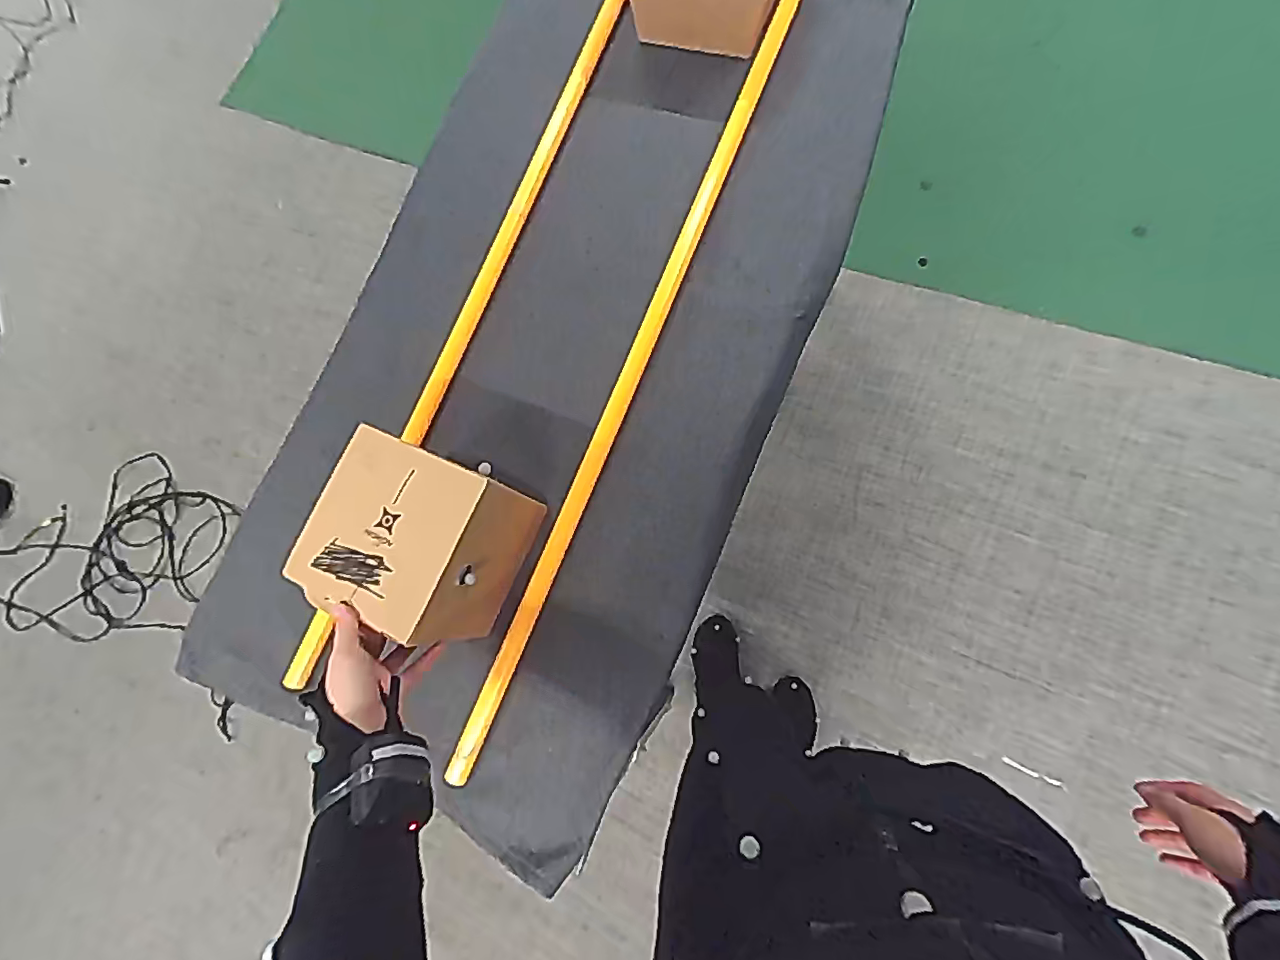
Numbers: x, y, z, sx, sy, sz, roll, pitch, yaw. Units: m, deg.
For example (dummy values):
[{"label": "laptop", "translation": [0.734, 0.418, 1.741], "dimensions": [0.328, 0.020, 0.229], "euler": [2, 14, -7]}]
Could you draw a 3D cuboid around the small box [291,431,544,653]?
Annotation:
[{"label": "small box", "translation": [-0.232, 0.073, 0.611], "dimensions": [0.168, 0.176, 0.179], "euler": [23, 82, 15]}]
